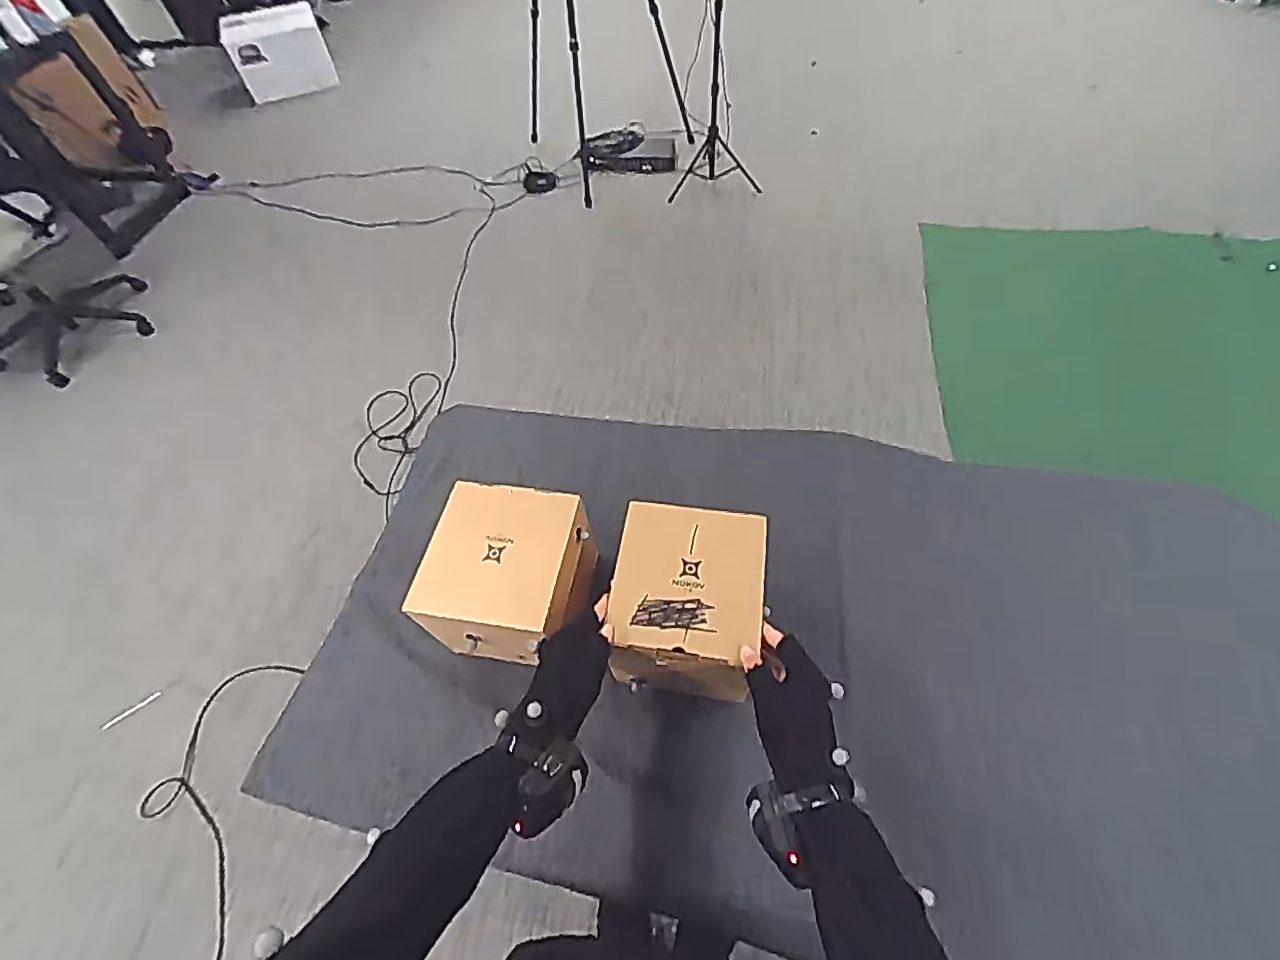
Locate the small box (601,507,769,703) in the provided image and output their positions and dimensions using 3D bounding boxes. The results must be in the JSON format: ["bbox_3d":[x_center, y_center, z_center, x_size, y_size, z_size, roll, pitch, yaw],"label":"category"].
[{"bbox_3d":[0.060,0.156,0.657,0.168,0.176,0.179,6,56,9],"label":"small box"}]

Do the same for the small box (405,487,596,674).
[{"bbox_3d":[-0.160,0.133,0.692,0.168,0.176,0.179,6,56,9],"label":"small box"}]
